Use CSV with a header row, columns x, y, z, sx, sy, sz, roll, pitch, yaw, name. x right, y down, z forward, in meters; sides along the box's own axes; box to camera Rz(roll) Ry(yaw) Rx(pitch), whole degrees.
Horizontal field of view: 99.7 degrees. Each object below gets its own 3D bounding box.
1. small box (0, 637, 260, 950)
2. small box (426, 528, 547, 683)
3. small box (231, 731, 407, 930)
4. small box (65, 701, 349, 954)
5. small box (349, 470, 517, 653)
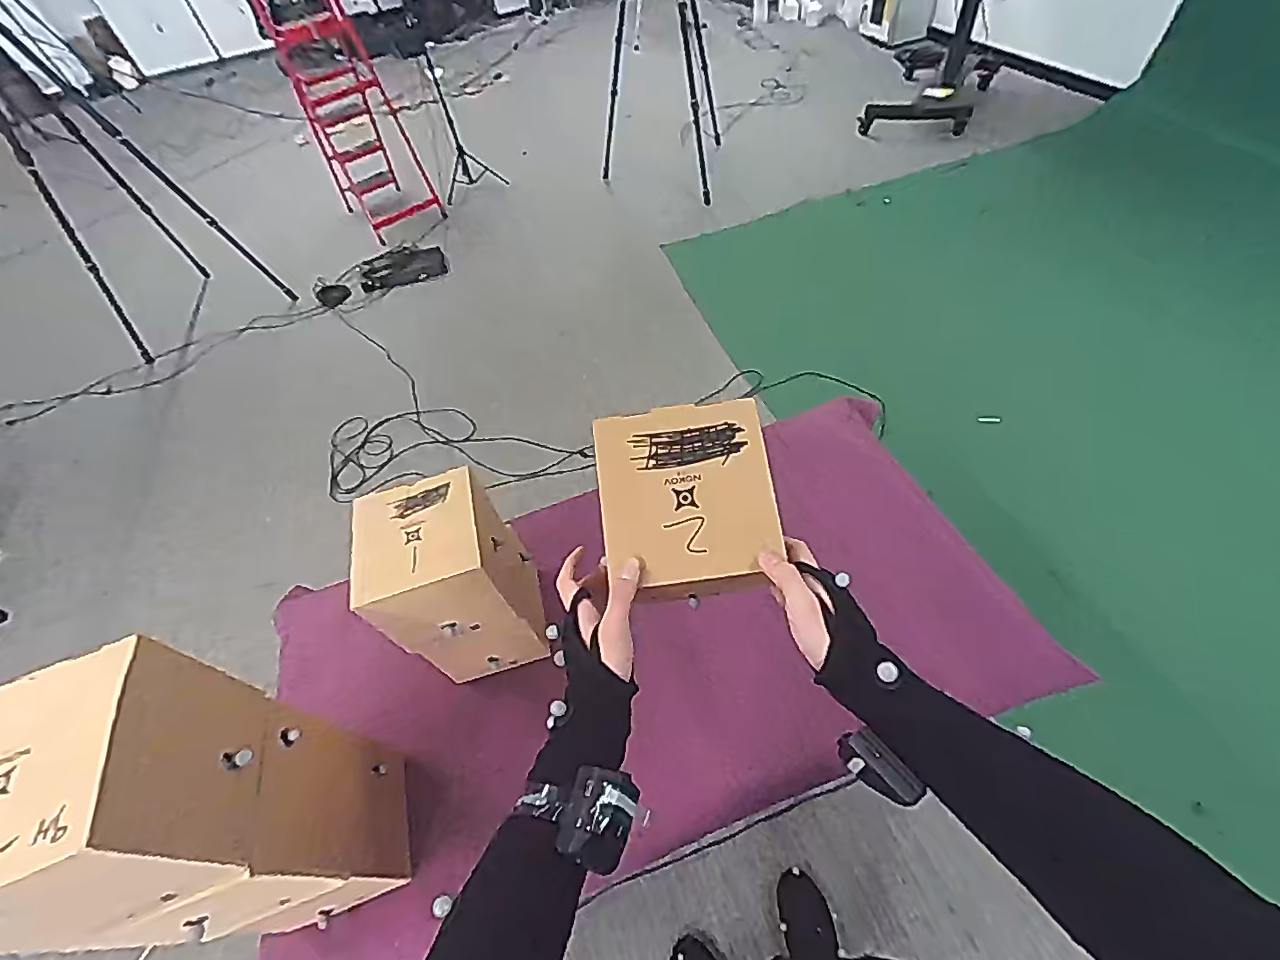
x,y,z,sx,sy,sz,roll,pitch,yaw,name
-0.473,0.275,0.475,0.168,0.176,0.179,-22,50,-7,small box
-0.263,0.212,0.905,0.168,0.176,0.179,-16,53,-3,small box
-0.434,0.475,0.730,0.168,0.176,0.179,-20,52,-6,small box
-0.448,0.380,0.599,0.168,0.176,0.179,-20,50,-5,small box
-0.287,0.119,0.772,0.168,0.176,0.179,-17,53,-4,small box
